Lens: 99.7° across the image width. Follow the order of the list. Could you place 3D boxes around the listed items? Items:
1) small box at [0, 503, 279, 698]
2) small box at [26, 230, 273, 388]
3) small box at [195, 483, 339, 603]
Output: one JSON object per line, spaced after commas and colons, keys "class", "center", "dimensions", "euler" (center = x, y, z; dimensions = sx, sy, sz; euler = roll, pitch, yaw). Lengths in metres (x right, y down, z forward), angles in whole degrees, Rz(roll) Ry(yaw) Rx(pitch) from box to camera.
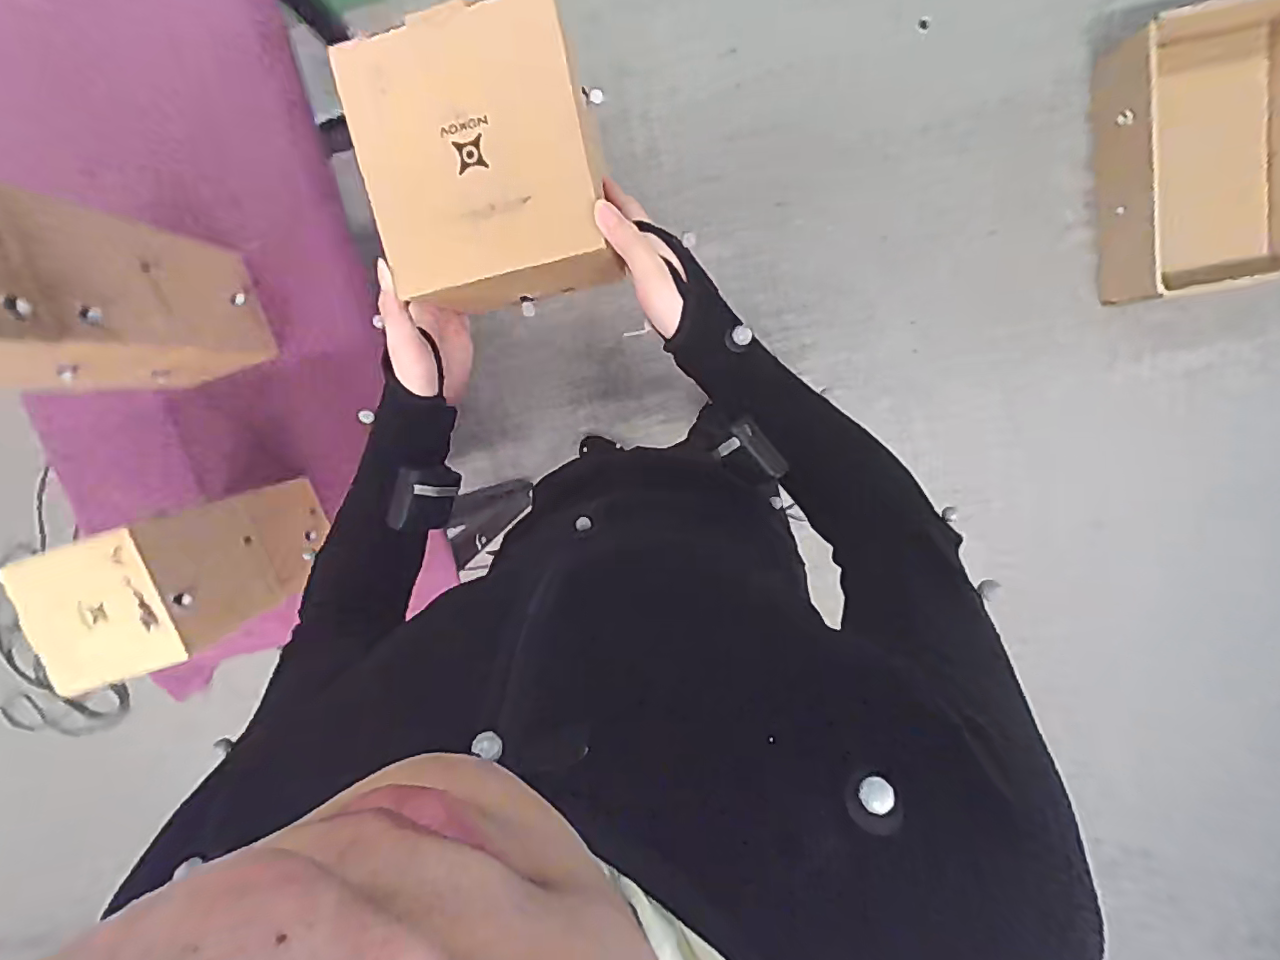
{"class": "small box", "center": [-0.618, 0.142, 0.688], "dimensions": [0.179, 0.176, 0.168], "euler": [-17, 99, 6]}
{"class": "small box", "center": [-0.696, -0.235, 0.790], "dimensions": [0.179, 0.176, 0.168], "euler": [-16, 99, 5]}
{"class": "small box", "center": [-0.623, 0.117, 0.850], "dimensions": [0.179, 0.176, 0.168], "euler": [-19, 98, 5]}
